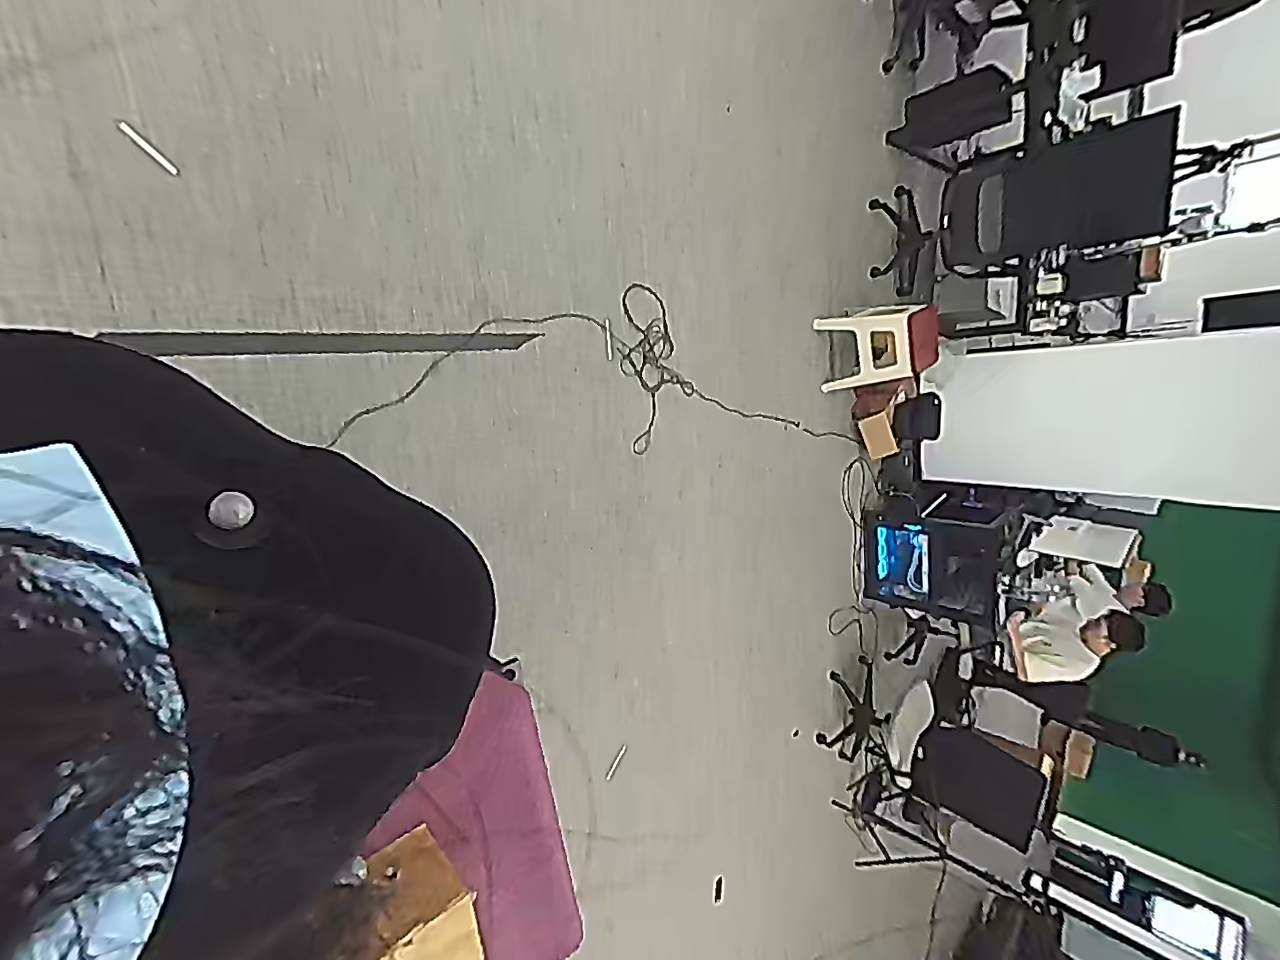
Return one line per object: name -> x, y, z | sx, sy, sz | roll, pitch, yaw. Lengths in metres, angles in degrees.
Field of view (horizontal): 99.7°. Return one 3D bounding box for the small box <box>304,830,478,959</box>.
small box -> -0.337, 0.638, 0.741 | 0.168, 0.176, 0.179 | -17, 105, -39
